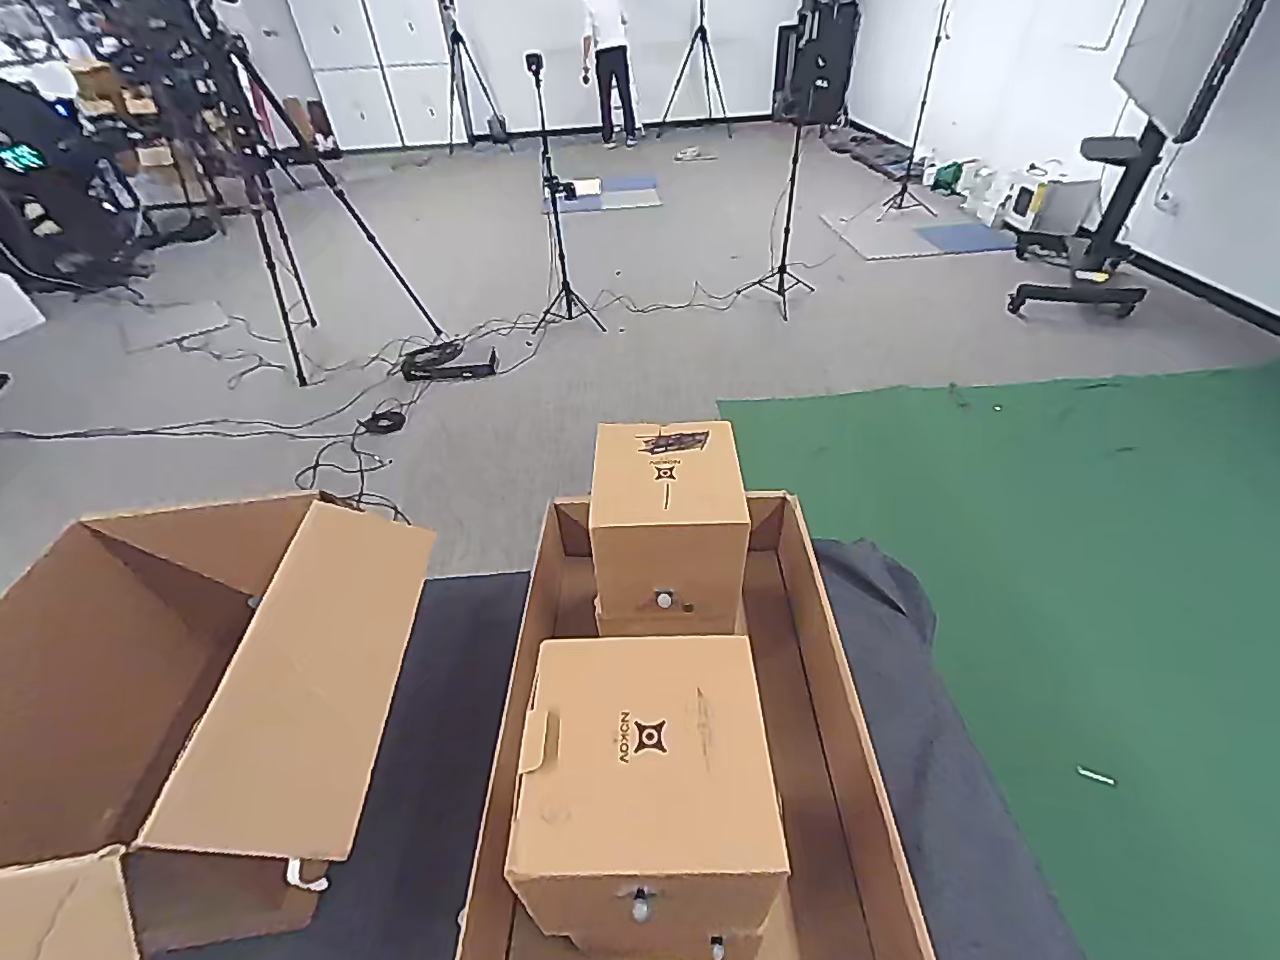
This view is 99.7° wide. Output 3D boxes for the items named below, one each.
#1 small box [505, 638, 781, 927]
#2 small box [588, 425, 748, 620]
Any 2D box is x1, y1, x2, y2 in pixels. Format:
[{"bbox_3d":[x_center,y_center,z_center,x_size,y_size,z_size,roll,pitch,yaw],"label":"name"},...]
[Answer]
[{"bbox_3d":[0.005,0.249,0.445,0.179,0.176,0.168,-1,42,0],"label":"small box"},{"bbox_3d":[0.031,0.050,0.660,0.168,0.176,0.179,-1,43,2],"label":"small box"}]
